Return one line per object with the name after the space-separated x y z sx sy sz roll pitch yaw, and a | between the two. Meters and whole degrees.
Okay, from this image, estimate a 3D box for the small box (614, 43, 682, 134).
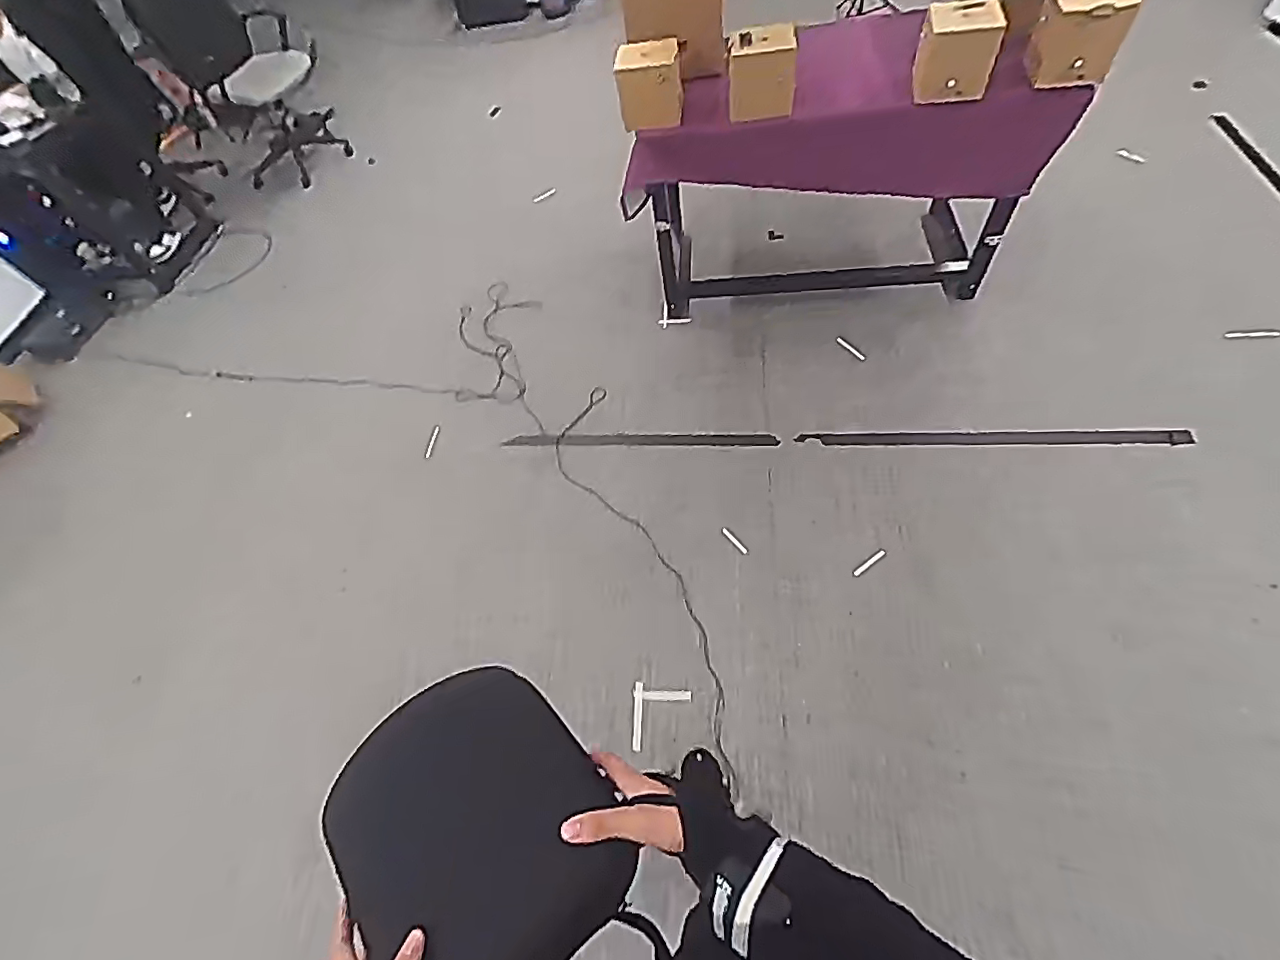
0.029 -1.165 1.618 0.179 0.176 0.168 1 58 9 | small box

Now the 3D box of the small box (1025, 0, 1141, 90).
1.135 -1.149 1.405 0.168 0.176 0.179 5 59 14 | small box
